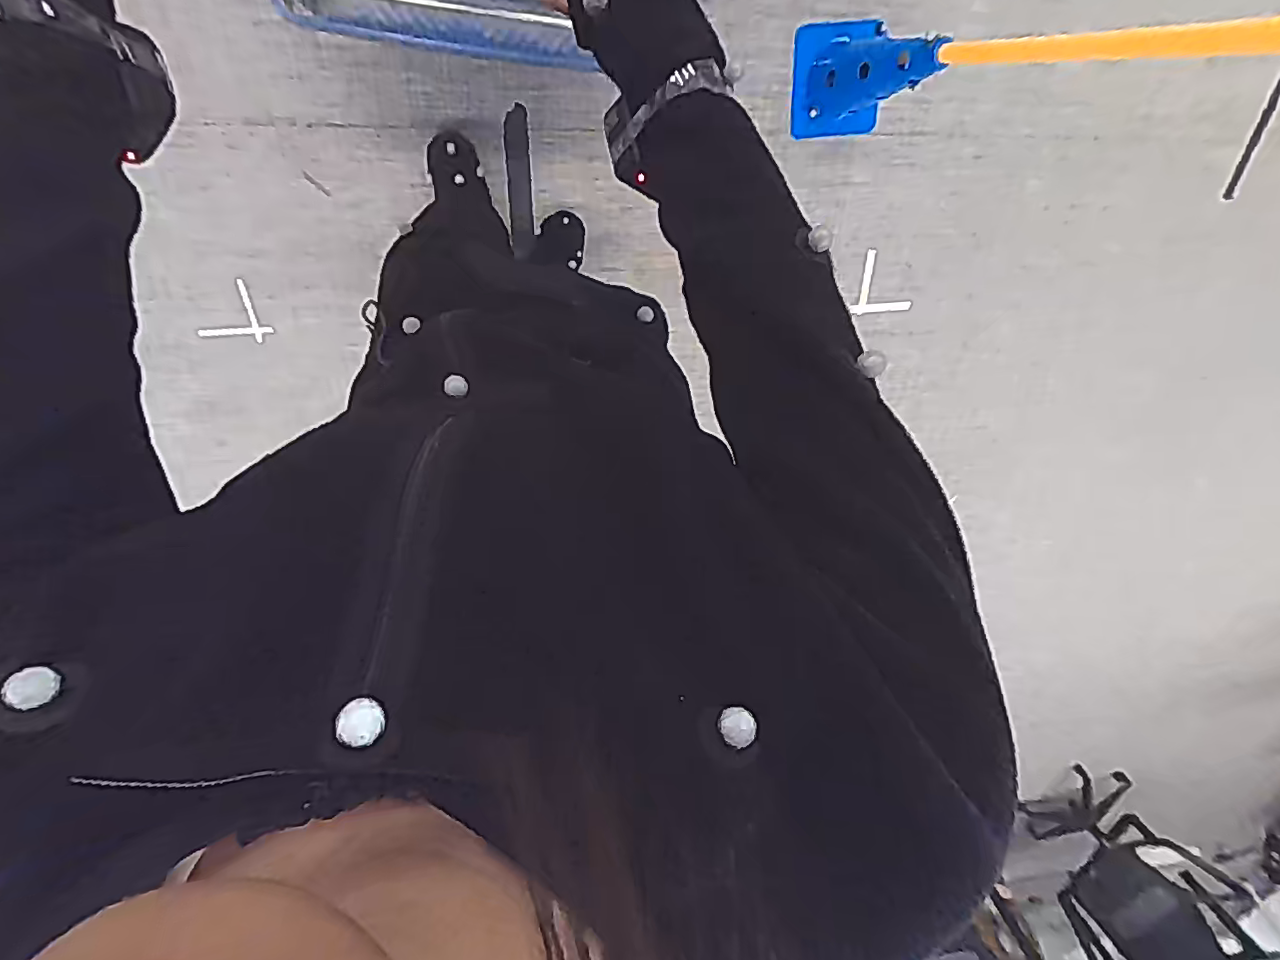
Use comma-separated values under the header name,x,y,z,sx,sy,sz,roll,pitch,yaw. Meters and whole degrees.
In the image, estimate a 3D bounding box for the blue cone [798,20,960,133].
name,x,y,z,sx,sy,sz,roll,pitch,yaw
blue cone,0.455,-0.774,1.010,0.193,0.380,0.192,-8,120,-7
